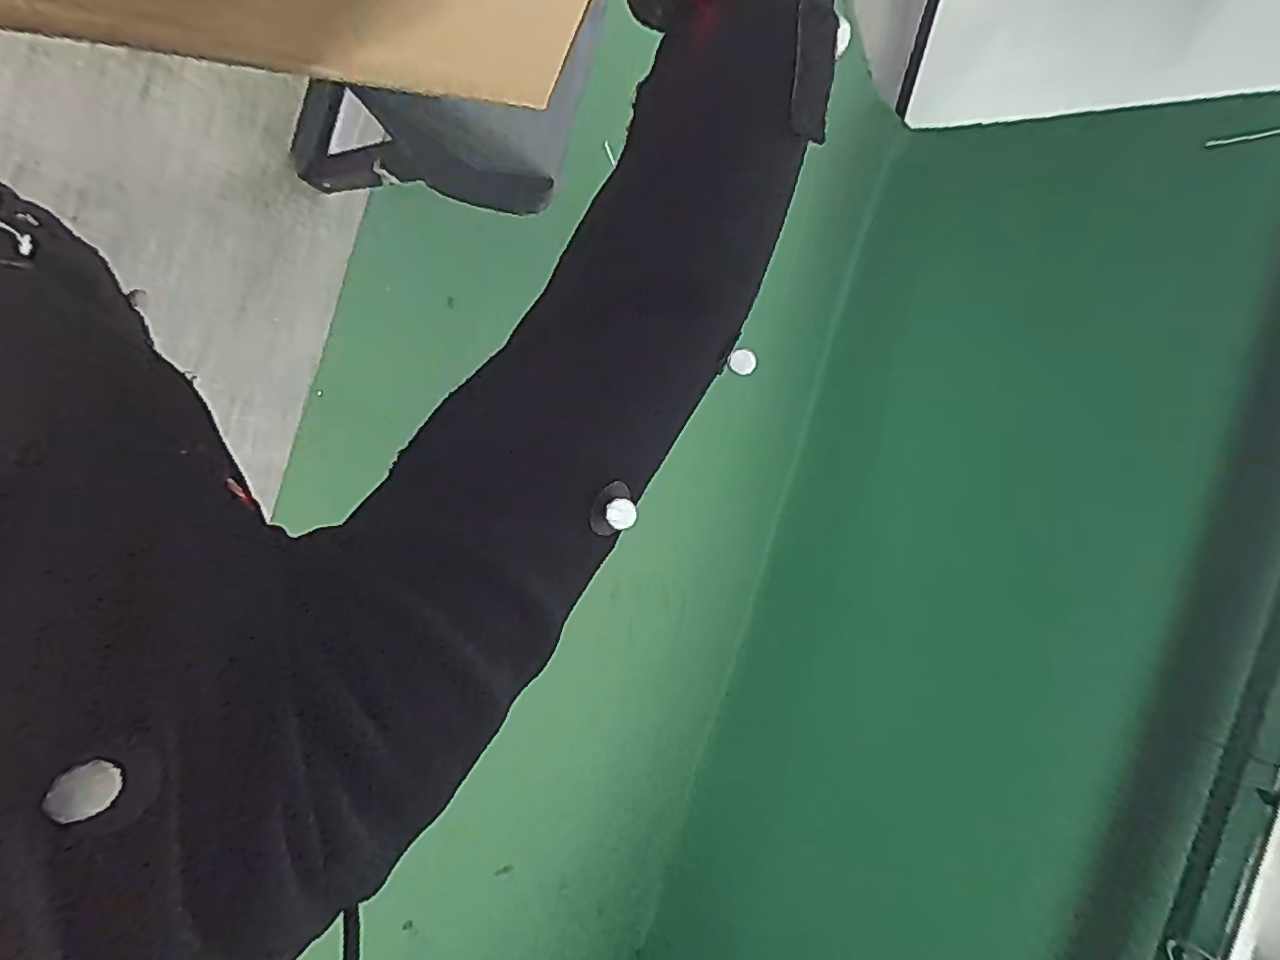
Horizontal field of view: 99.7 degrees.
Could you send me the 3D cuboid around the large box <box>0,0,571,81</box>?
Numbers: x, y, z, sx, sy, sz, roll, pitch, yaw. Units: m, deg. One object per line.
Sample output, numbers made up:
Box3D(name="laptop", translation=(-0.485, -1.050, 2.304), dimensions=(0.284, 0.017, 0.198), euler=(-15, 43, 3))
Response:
Box3D(name="large box", translation=(-0.203, -0.438, 0.175), dimensions=(0.320, 0.320, 0.408), euler=(-31, 84, -43))
